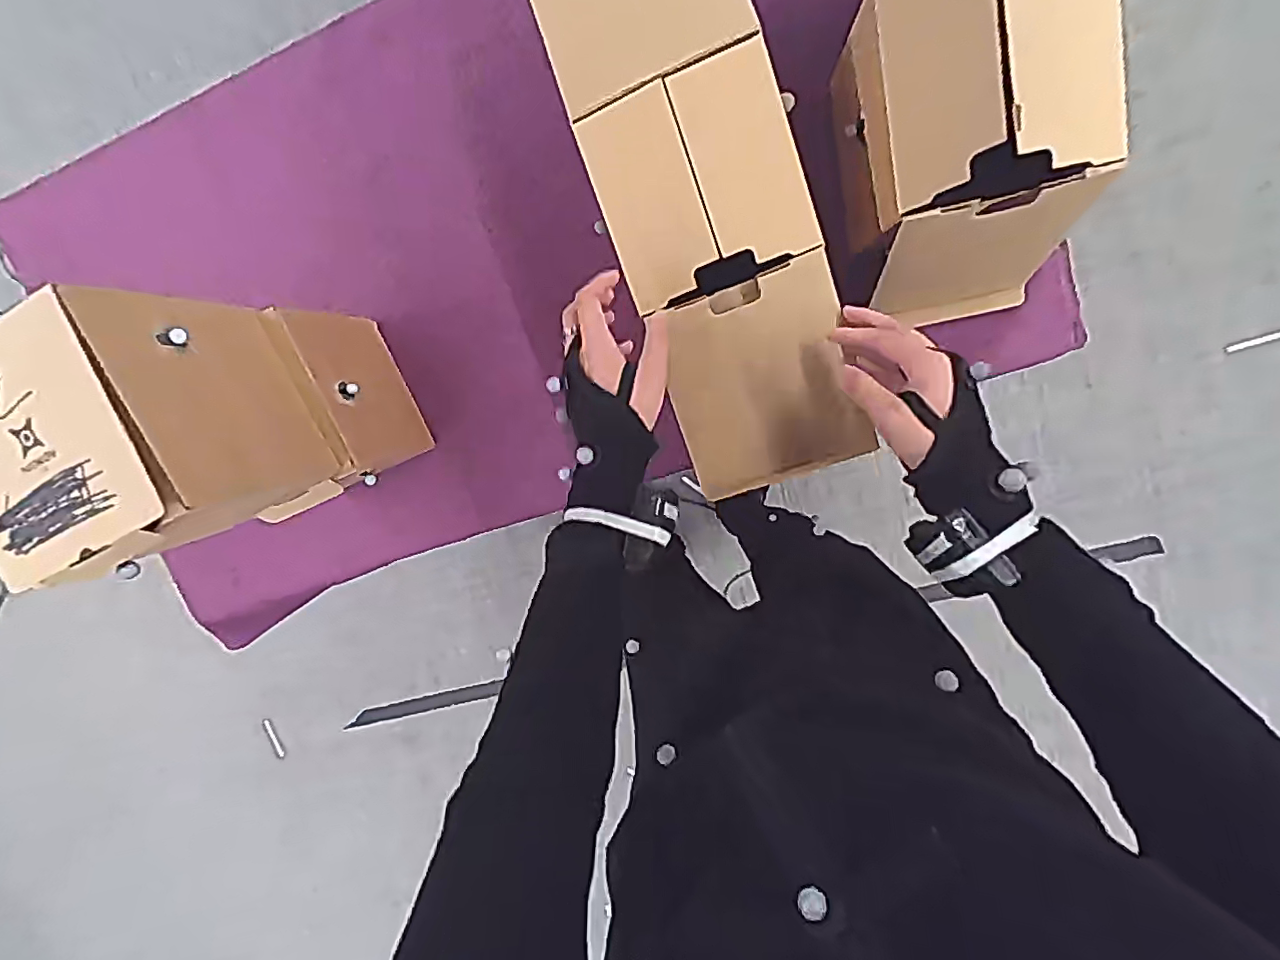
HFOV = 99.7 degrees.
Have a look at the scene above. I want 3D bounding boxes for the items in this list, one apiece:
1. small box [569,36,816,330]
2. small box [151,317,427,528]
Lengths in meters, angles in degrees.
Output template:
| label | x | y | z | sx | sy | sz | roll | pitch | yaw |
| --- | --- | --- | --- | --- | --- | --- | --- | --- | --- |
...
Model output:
| label | x | y | z | sx | sy | sz | roll | pitch | yaw |
| --- | --- | --- | --- | --- | --- | --- | --- | --- | --- |
| small box | 0.052 | -0.259 | 0.525 | 0.168 | 0.176 | 0.179 | -18 | 99 | 12 |
| small box | -0.383 | -0.071 | 0.627 | 0.168 | 0.176 | 0.179 | -22 | 98 | 11 |
